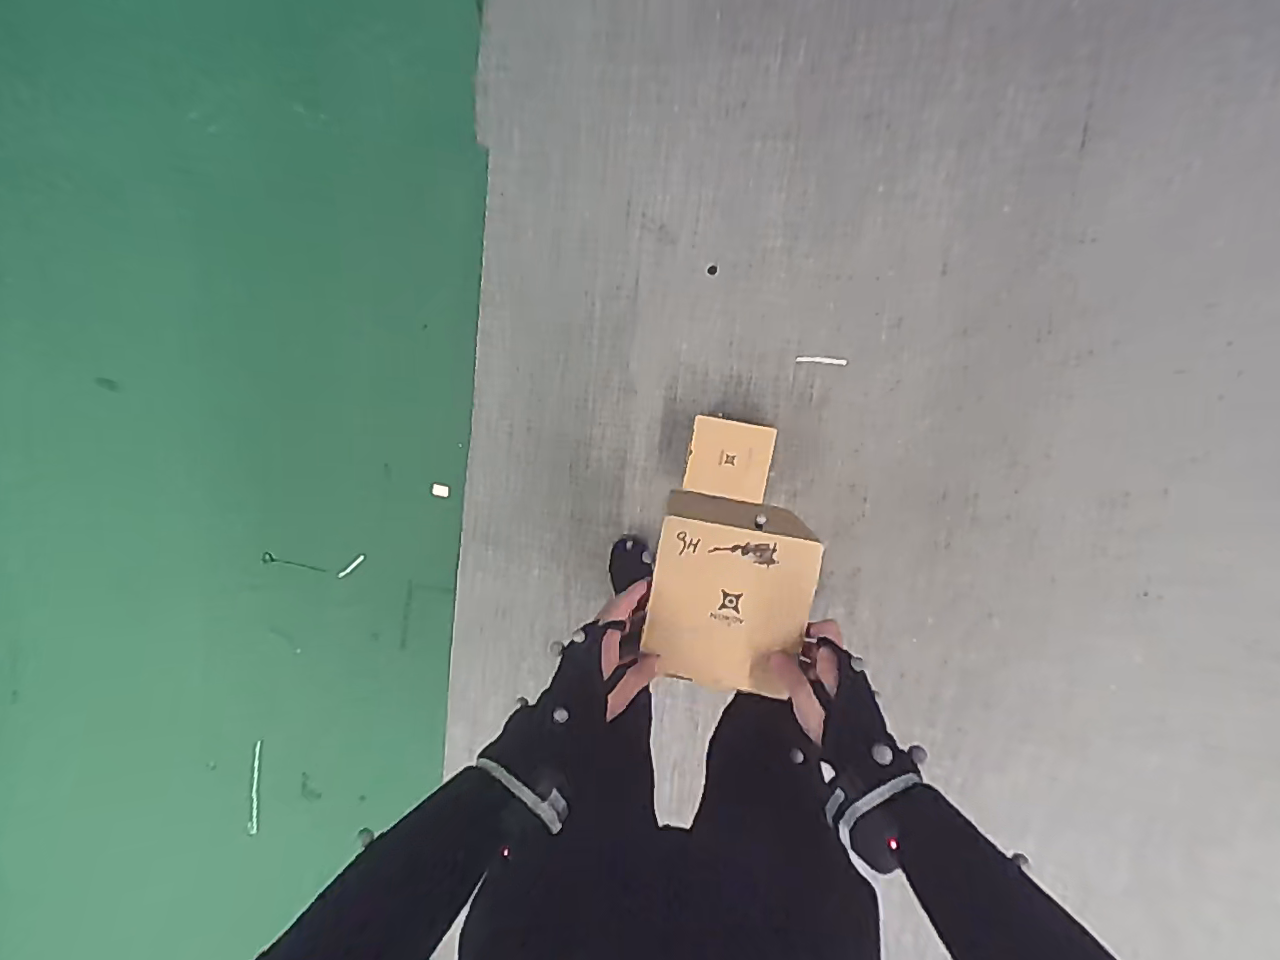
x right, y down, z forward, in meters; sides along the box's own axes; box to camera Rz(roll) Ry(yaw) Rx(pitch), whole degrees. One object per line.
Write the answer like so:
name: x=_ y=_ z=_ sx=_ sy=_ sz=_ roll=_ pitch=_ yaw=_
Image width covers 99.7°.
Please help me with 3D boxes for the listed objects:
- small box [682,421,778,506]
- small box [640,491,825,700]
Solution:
small box: x=0.206 y=-0.034 z=1.224 sx=0.179 sy=0.176 sz=0.168 roll=12 pitch=97 yaw=12
small box: x=0.101 y=0.124 z=0.645 sx=0.168 sy=0.176 sz=0.179 roll=11 pitch=100 yaw=3
